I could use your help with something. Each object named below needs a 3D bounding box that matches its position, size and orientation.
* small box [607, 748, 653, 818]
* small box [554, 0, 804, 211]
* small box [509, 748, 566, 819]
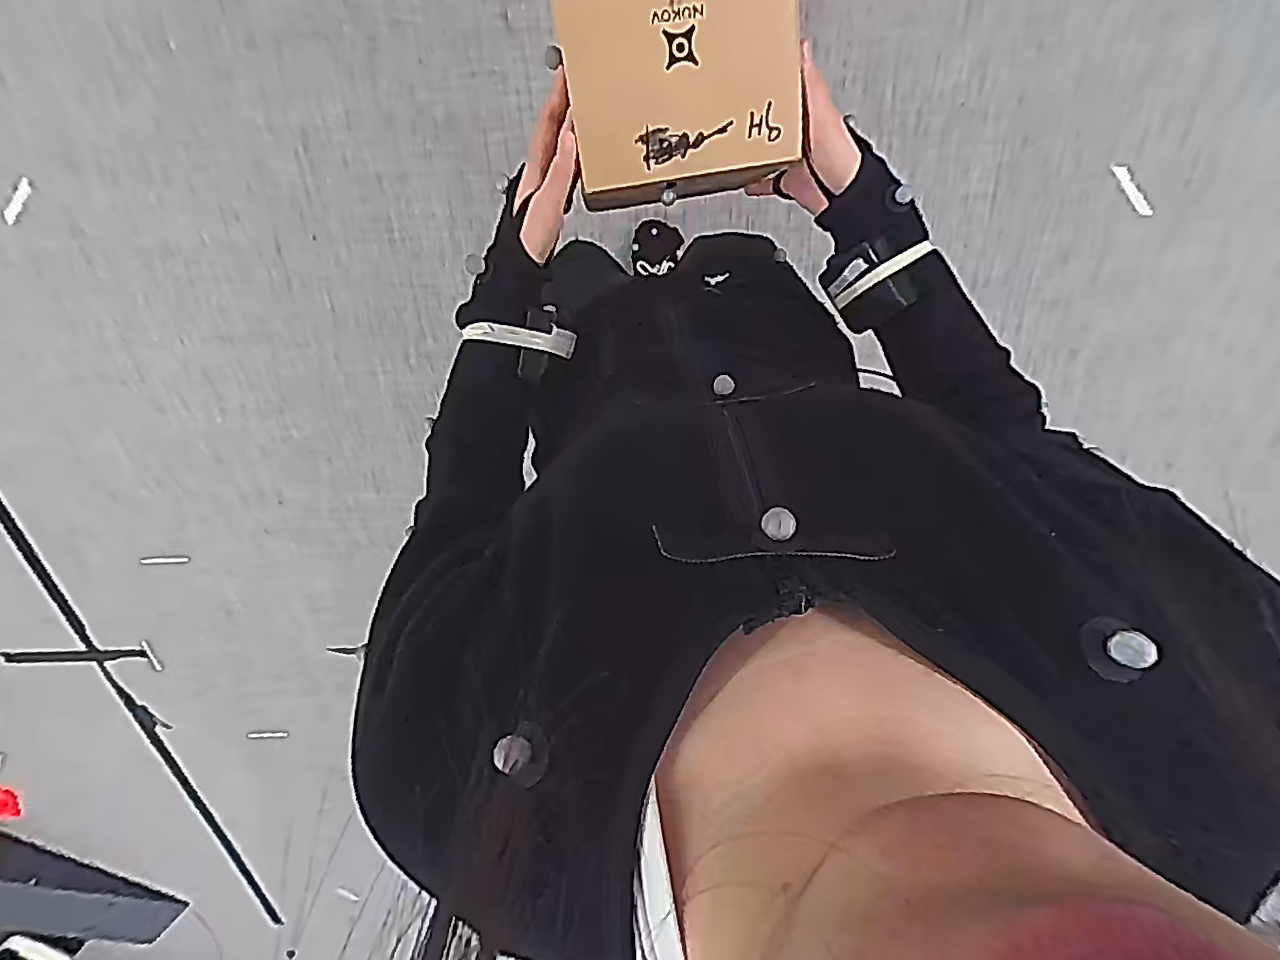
[{"bbox_3d":[-0.034,1.156,2.068,0.168,0.176,0.179,-4,115,2],"label":"small box"},{"bbox_3d":[0.023,-0.331,0.438,0.168,0.176,0.179,-9,112,-1],"label":"small box"},{"bbox_3d":[-0.391,1.158,2.073,0.179,0.176,0.168,12,115,-7],"label":"small box"}]
